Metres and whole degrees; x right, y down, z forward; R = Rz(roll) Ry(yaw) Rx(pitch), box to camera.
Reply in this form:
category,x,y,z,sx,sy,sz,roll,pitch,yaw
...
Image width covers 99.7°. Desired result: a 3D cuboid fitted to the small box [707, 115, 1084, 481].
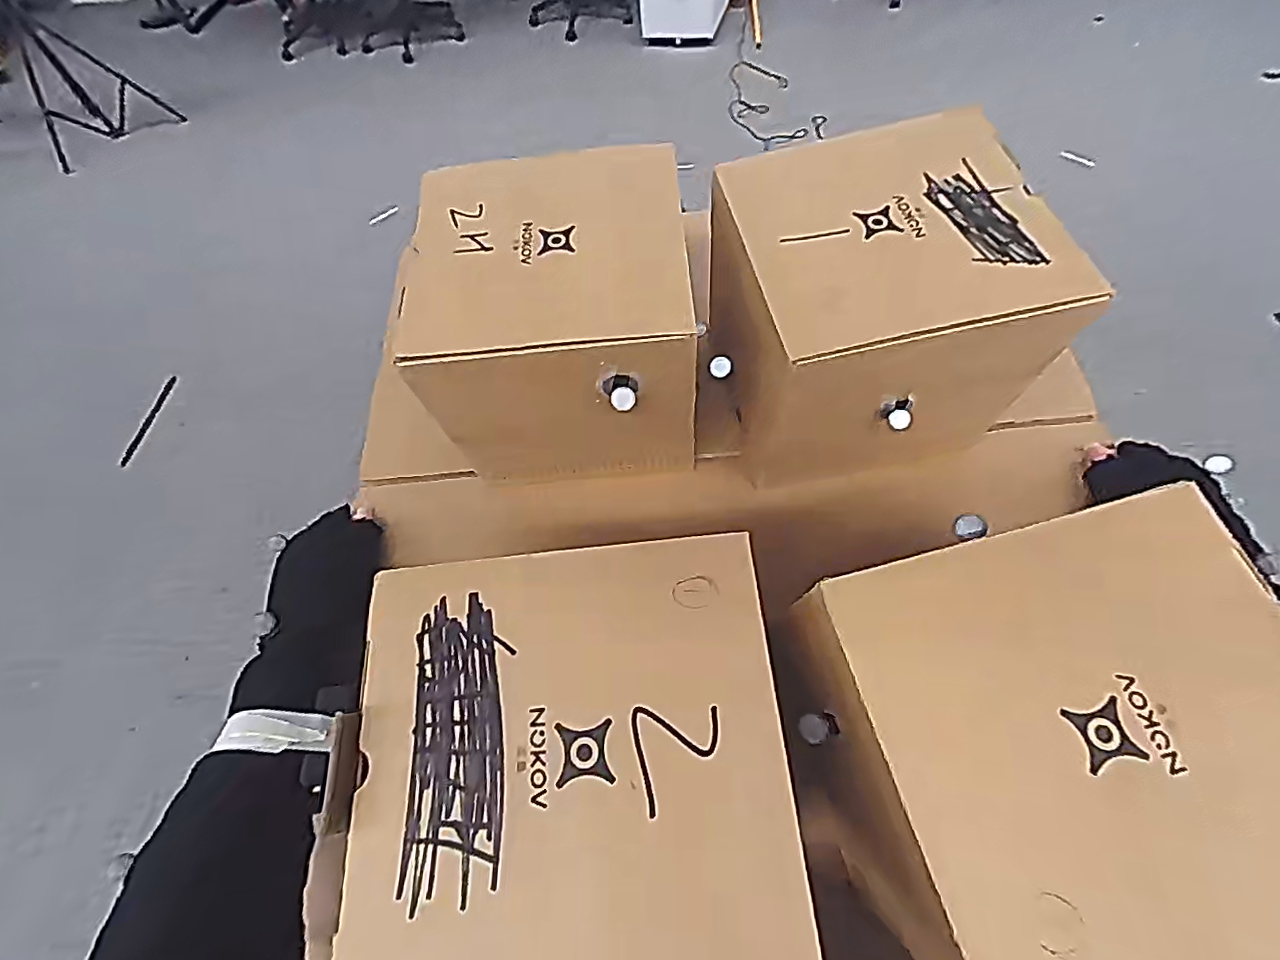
category,x,y,z,sx,sy,sz,roll,pitch,yaw
small box,0.150,-0.118,0.397,0.179,0.176,0.168,-12,64,2

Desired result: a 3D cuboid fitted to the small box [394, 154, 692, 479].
category,x,y,z,sx,sy,sz,roll,pitch,yaw
small box,-0.053,-0.111,0.416,0.179,0.176,0.168,-4,64,4
